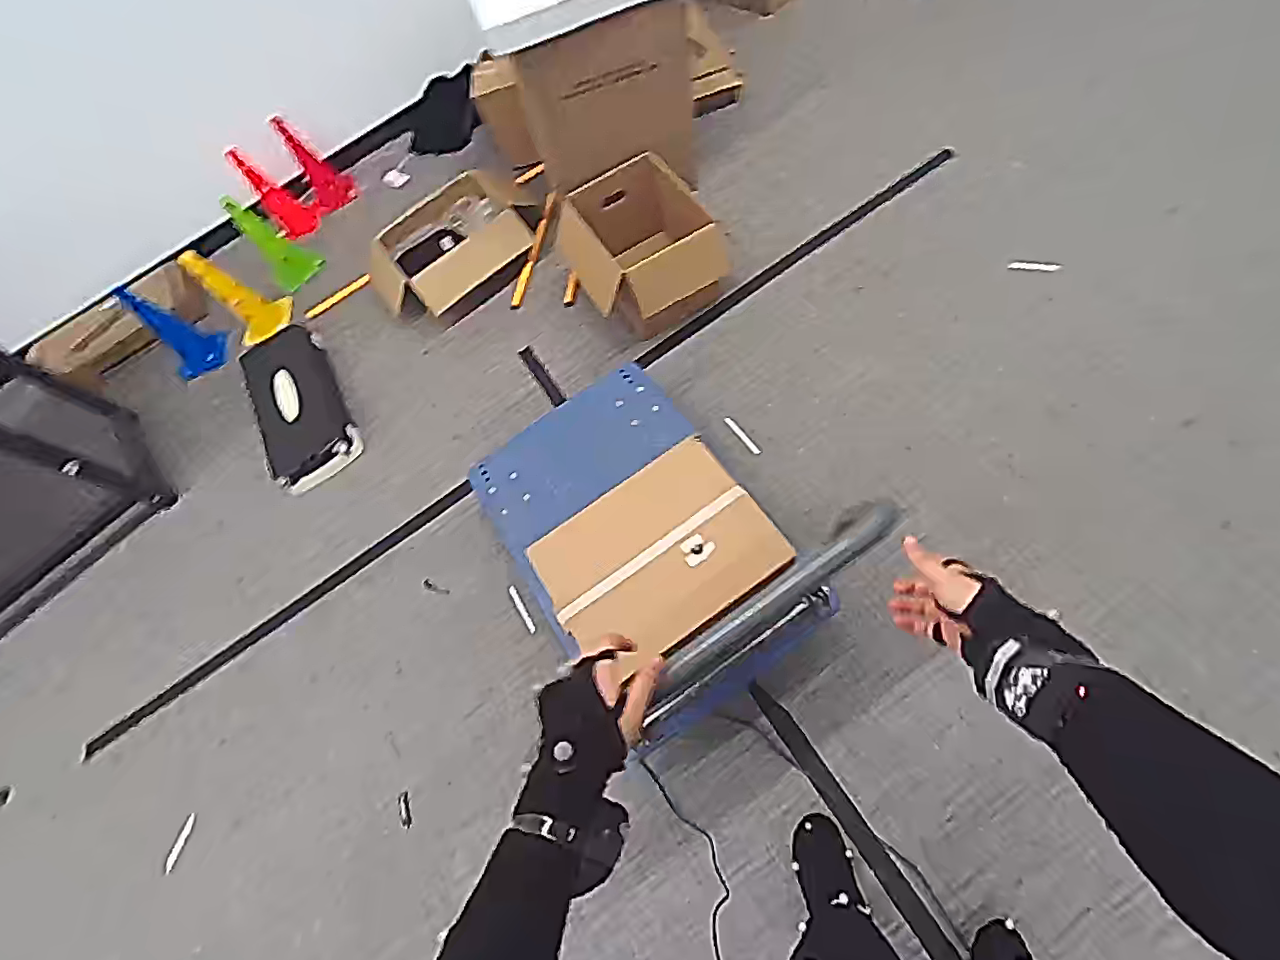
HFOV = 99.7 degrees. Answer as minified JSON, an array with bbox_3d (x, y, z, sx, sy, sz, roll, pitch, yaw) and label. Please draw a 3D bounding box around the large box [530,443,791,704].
[{"bbox_3d":[0.054,0.207,1.129,0.408,0.320,0.320,-35,64,-6],"label":"large box"}]
